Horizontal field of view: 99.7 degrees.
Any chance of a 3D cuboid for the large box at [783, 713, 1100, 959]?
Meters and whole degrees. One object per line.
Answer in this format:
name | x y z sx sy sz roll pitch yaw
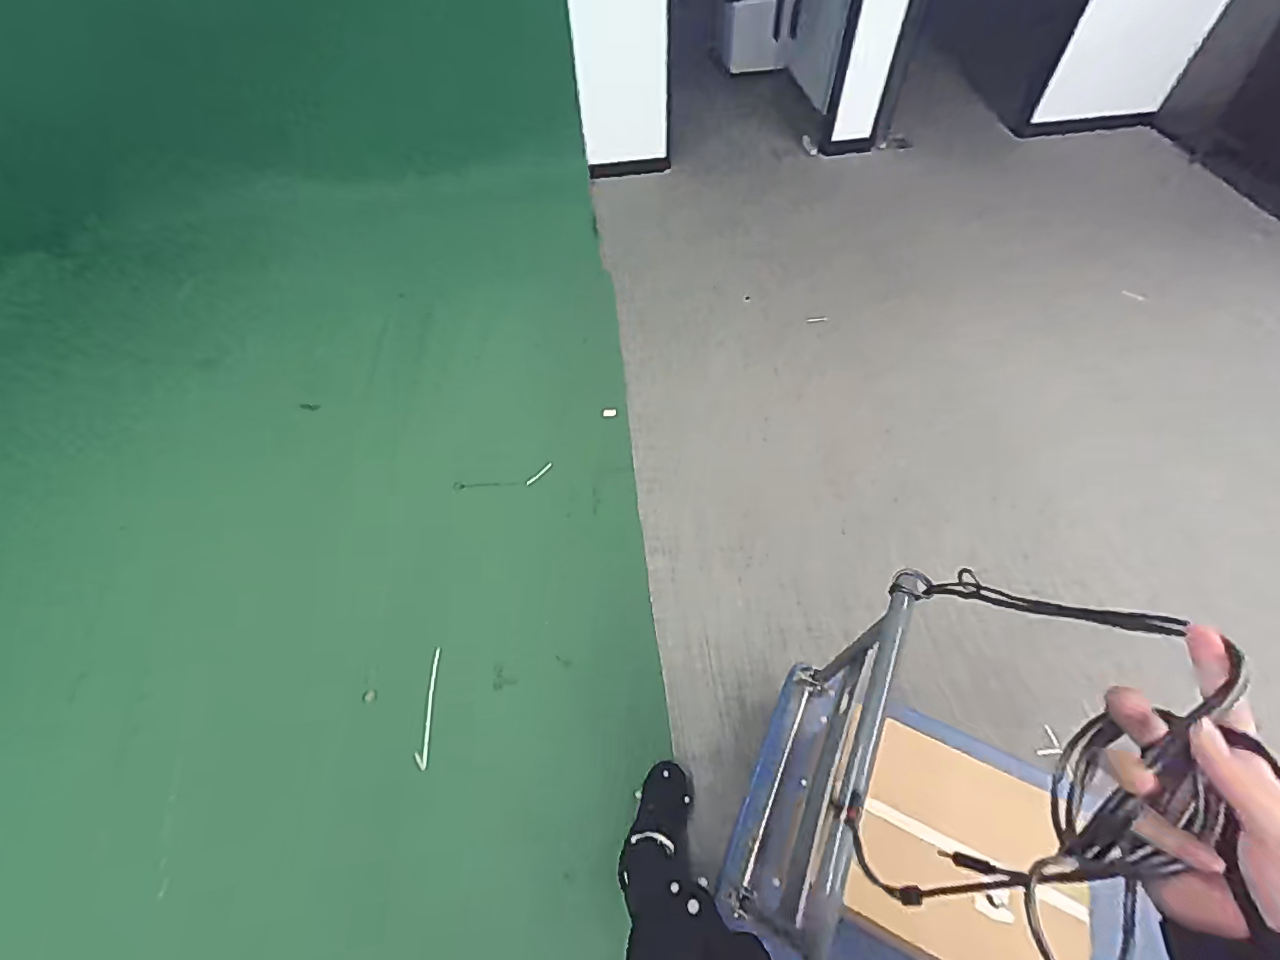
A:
large box | 0.526 0.701 1.005 0.408 0.320 0.320 22 59 16
